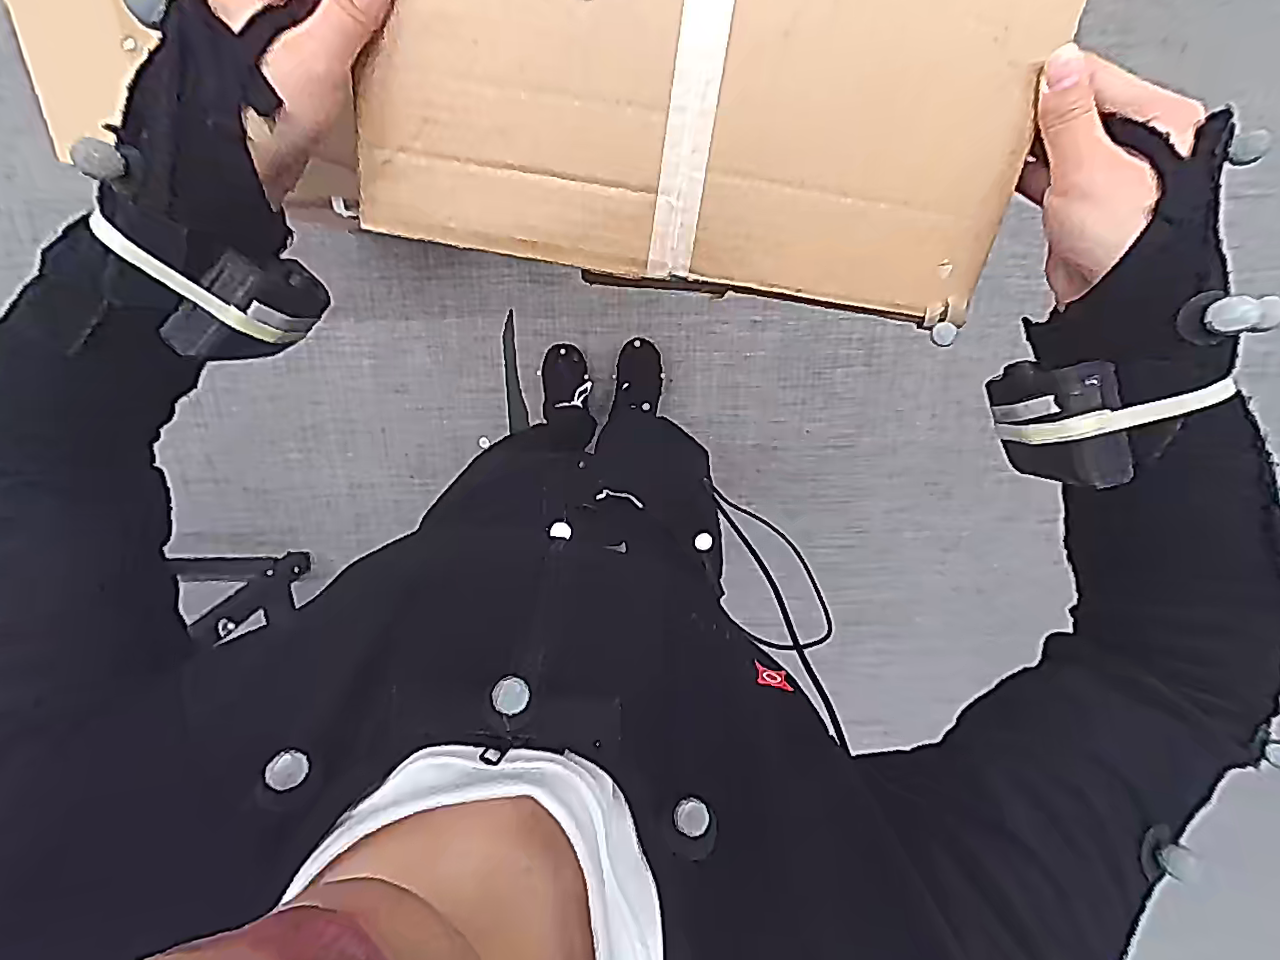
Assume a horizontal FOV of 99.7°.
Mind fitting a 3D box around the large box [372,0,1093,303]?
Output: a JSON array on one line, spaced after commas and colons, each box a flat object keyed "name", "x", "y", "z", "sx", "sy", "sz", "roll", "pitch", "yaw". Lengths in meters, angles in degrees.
[{"name": "large box", "x": 0.053, "y": -0.352, "z": 0.327, "sx": 0.320, "sy": 0.320, "sz": 0.408, "roll": 8, "pitch": 115, "yaw": -1}]
